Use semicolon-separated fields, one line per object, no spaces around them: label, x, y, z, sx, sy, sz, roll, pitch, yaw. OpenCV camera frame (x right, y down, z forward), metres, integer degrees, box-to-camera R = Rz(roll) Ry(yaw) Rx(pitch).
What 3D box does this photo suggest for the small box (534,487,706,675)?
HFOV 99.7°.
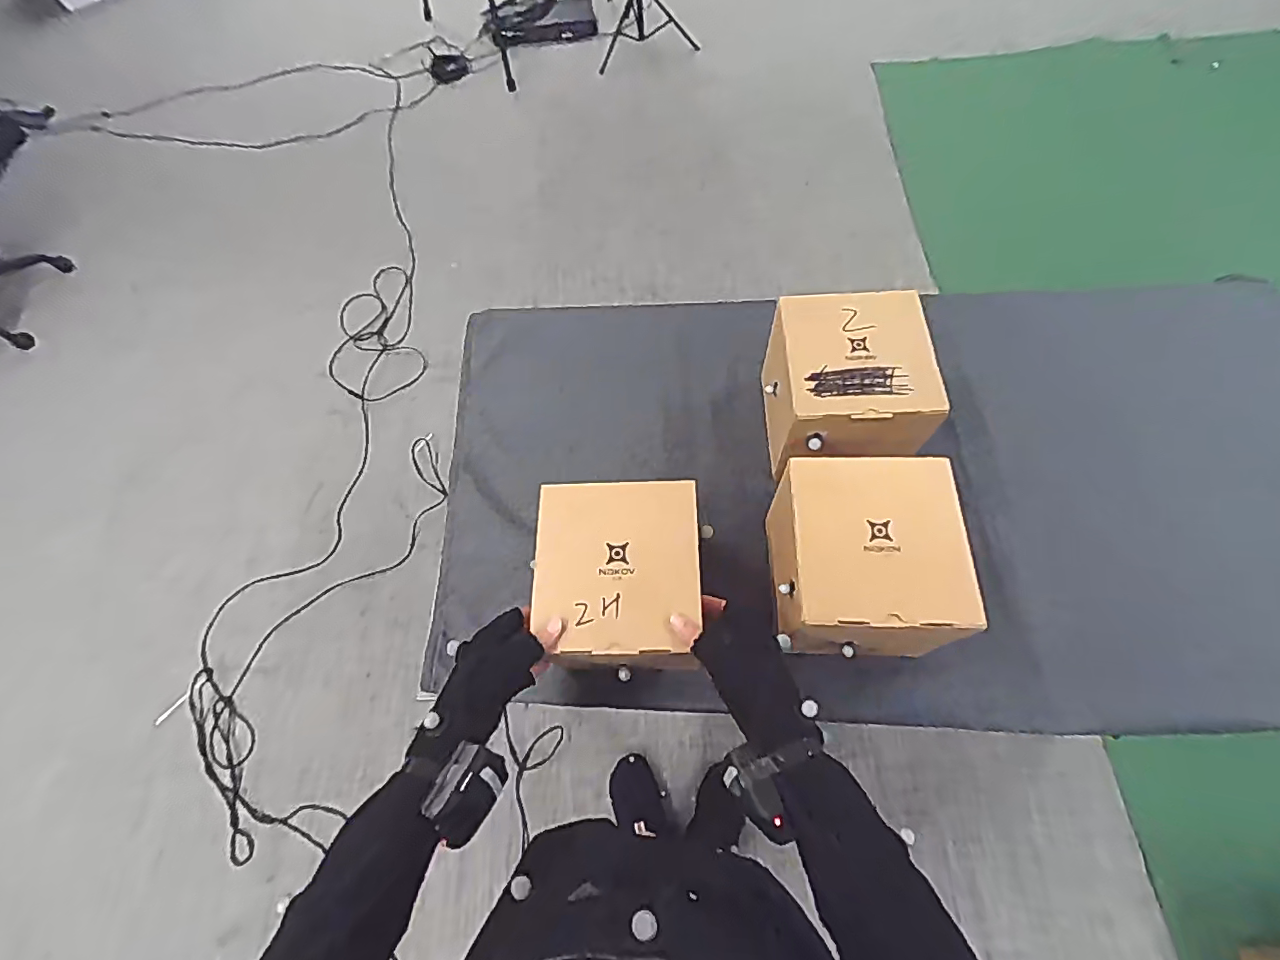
small box;-0.014;0.121;0.615;0.168;0.176;0.179;-2;65;4
